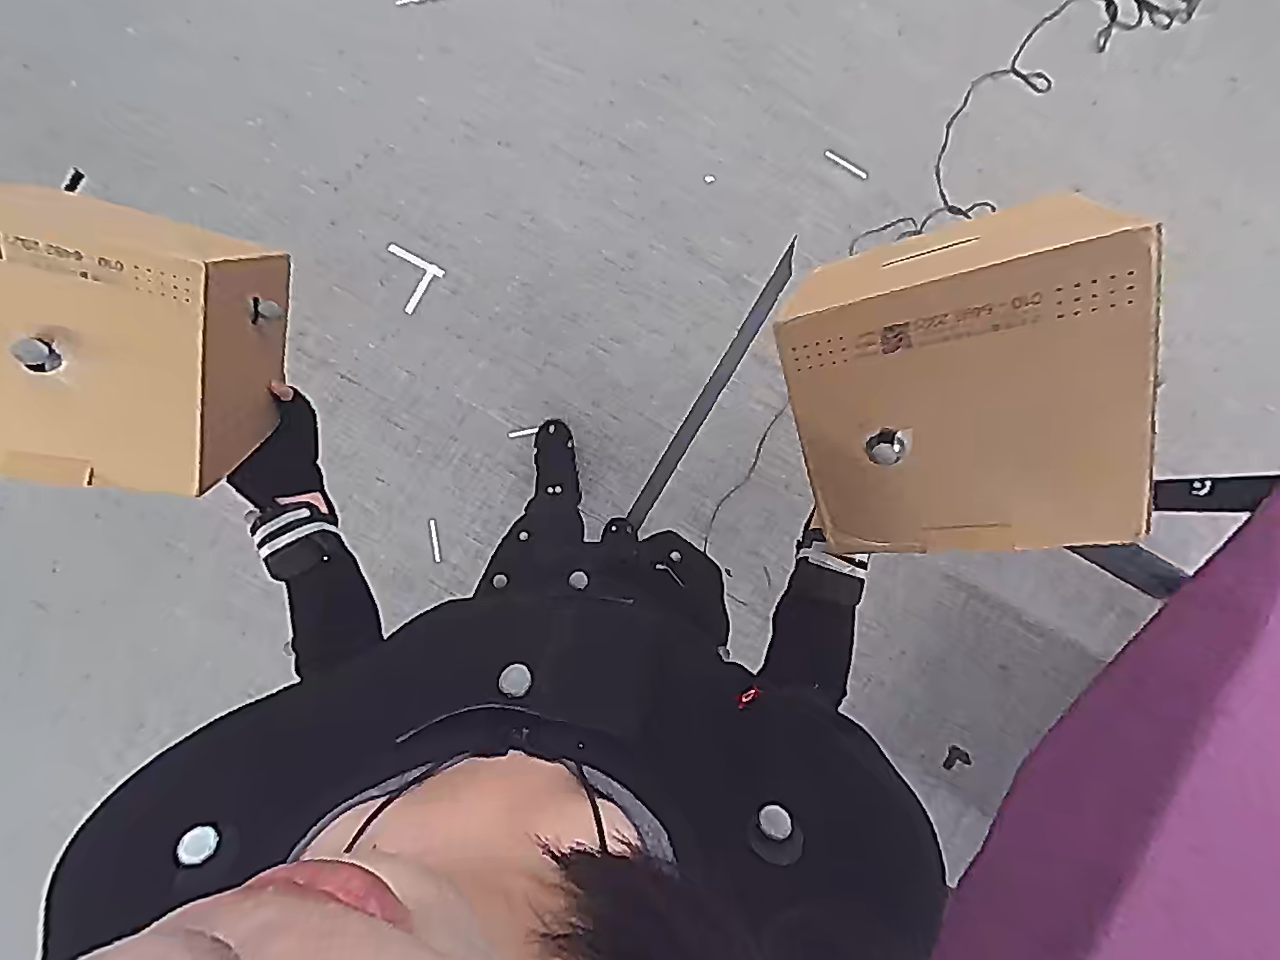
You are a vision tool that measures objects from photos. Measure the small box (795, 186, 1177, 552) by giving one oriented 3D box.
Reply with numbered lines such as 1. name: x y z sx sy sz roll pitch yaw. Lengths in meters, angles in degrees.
1. small box: 0.206 -0.073 0.350 0.168 0.179 0.176 -6 116 28

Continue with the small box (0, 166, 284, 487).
1. small box: -0.381 -0.115 0.391 0.168 0.179 0.176 11 109 -20
